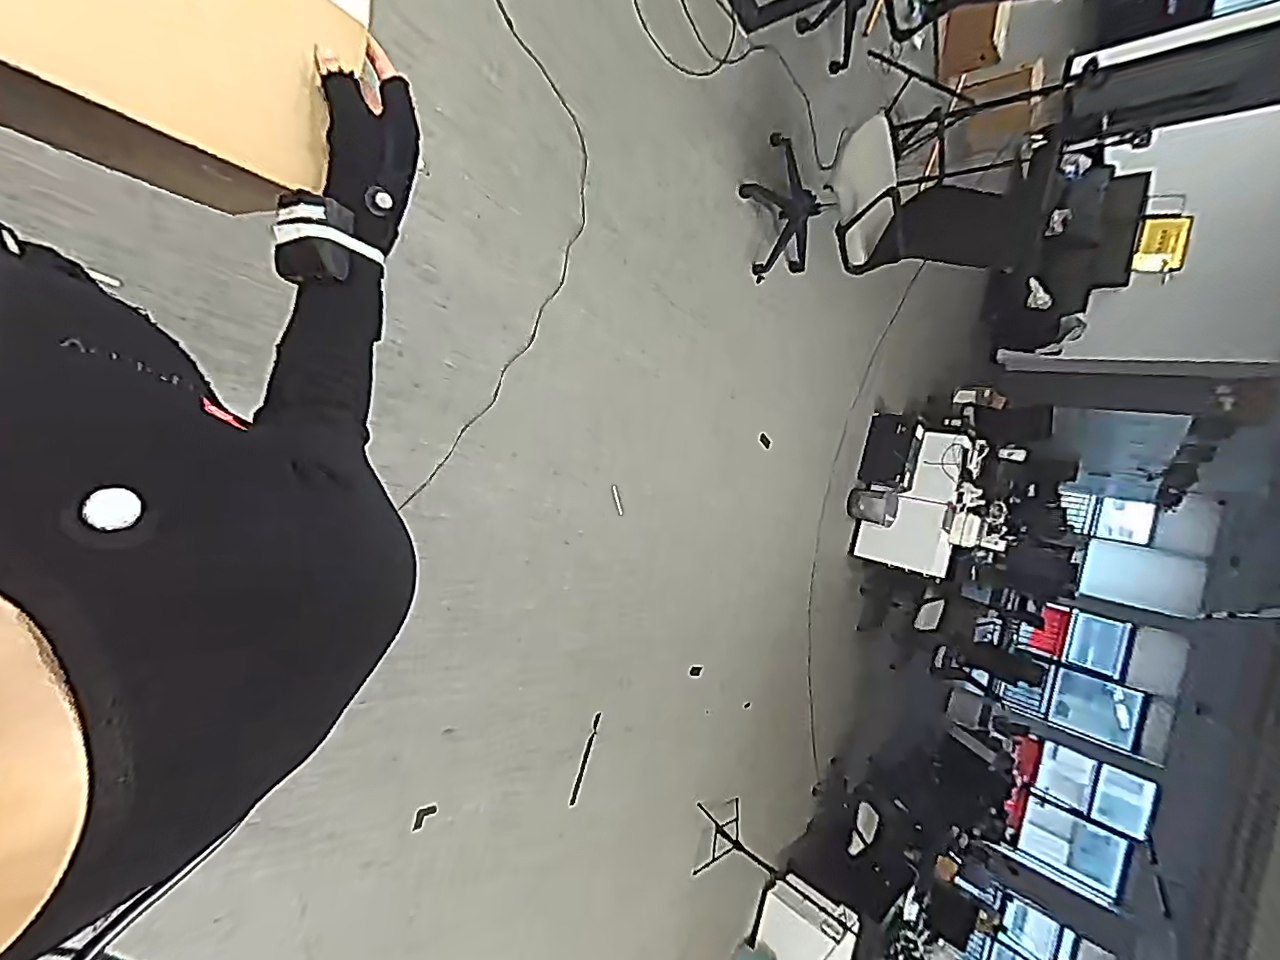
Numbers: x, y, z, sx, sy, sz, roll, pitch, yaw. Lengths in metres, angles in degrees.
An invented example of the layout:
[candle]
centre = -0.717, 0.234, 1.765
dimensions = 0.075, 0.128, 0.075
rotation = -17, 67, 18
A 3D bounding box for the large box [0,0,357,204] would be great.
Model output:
[large box]
centre = -0.476, -0.452, 0.395
dimensions = 0.408, 0.320, 0.320
rotation = 8, 100, -52
